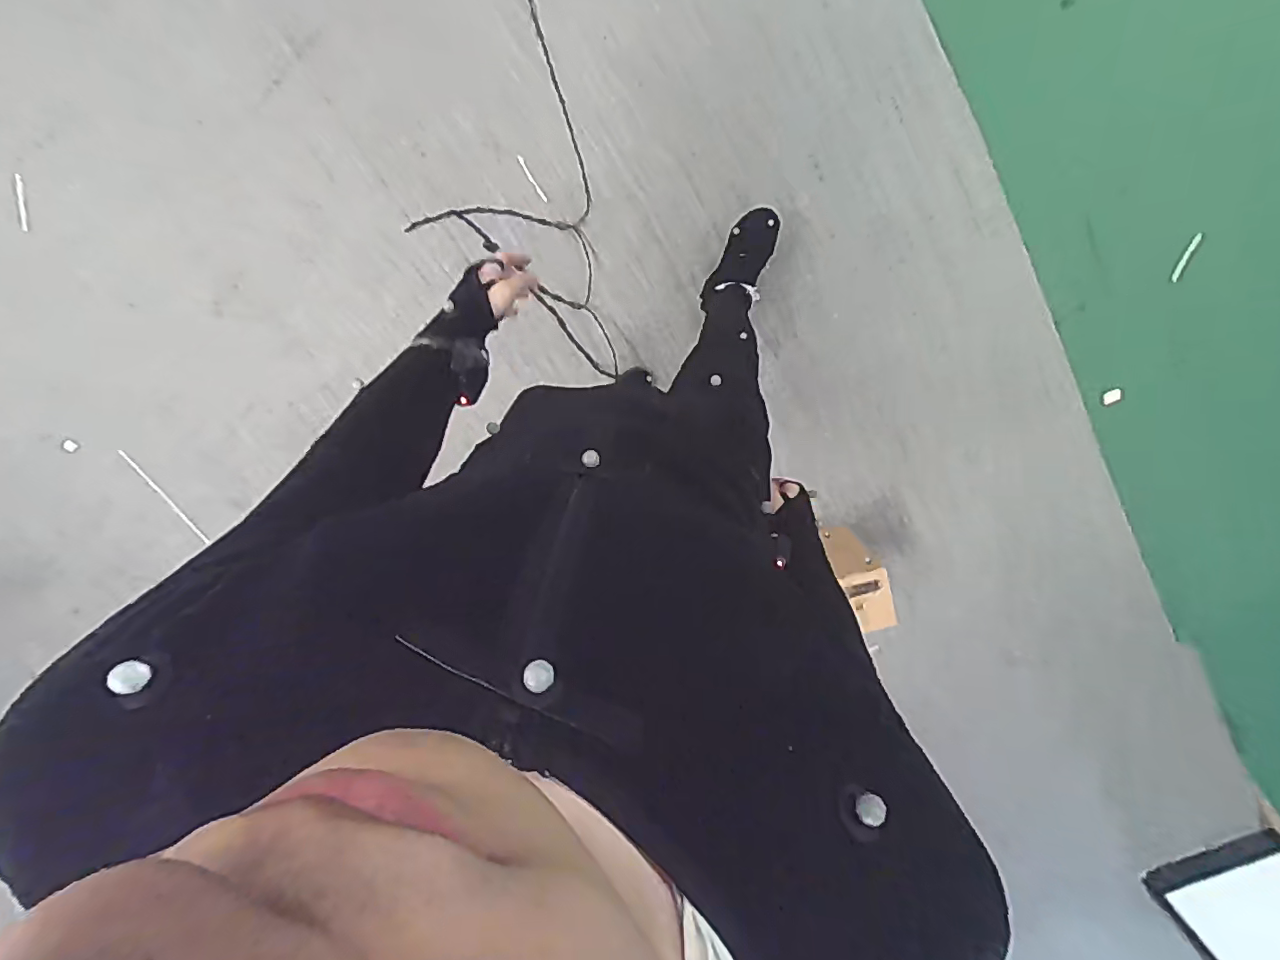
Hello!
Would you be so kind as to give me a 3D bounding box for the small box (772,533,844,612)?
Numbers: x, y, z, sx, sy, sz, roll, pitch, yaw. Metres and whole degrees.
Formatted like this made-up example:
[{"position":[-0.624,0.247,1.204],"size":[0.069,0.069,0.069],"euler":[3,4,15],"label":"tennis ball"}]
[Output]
[{"position":[0.498,0.269,1.620],"size":[0.168,0.176,0.179],"euler":[-9,108,5],"label":"small box"}]
